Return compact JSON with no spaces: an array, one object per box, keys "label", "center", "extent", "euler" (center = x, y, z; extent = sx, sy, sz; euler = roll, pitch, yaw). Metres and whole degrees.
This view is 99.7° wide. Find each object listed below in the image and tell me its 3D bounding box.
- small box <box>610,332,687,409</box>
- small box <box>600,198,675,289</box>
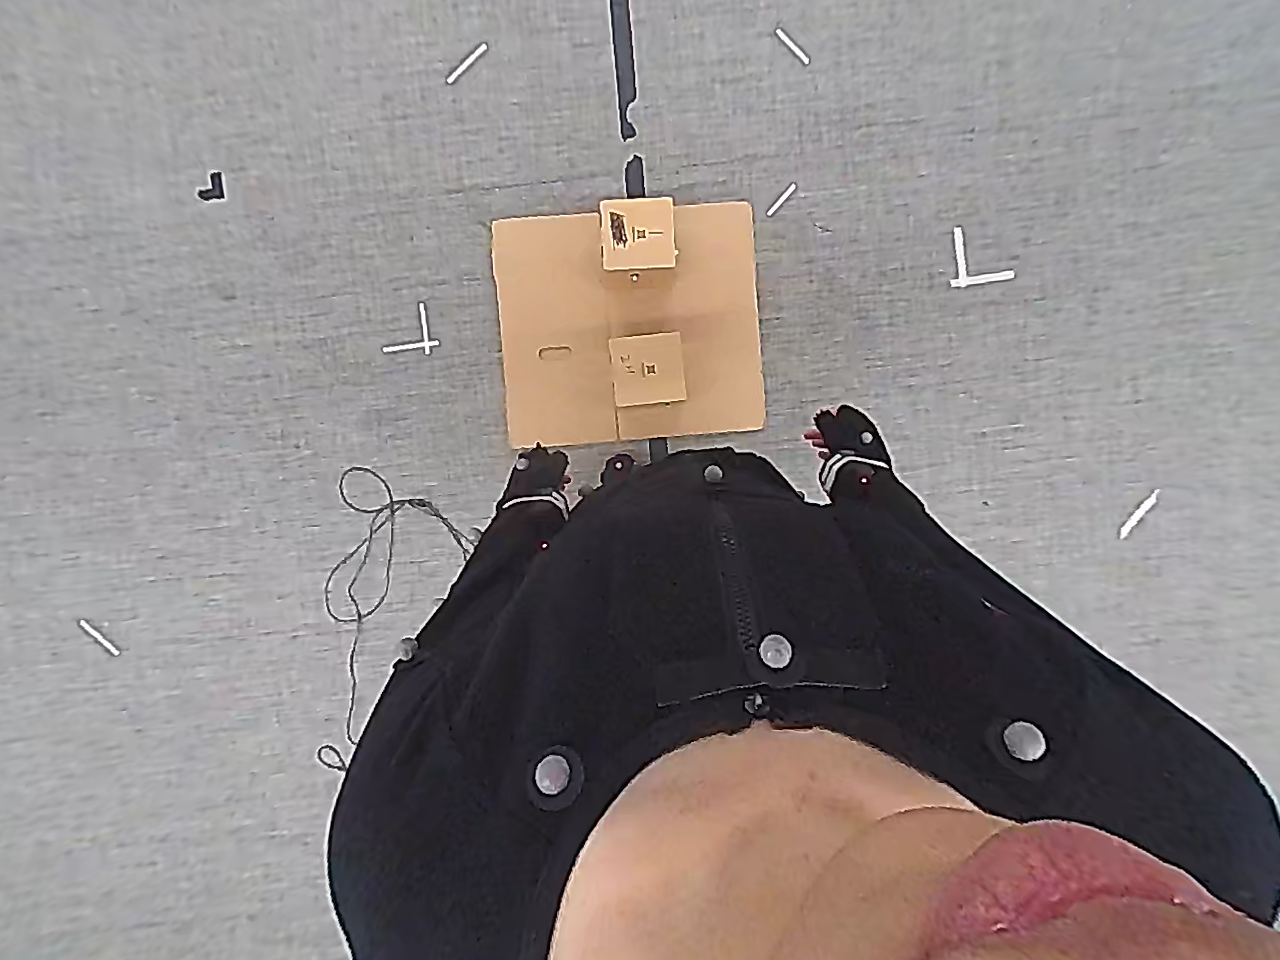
[{"label":"small box","center":[0.021,-0.275,1.387],"extent":[0.179,0.176,0.168],"euler":[-5,93,1]},{"label":"small box","center":[-0.004,-0.591,1.372],"extent":[0.179,0.176,0.168],"euler":[-3,93,0]}]
